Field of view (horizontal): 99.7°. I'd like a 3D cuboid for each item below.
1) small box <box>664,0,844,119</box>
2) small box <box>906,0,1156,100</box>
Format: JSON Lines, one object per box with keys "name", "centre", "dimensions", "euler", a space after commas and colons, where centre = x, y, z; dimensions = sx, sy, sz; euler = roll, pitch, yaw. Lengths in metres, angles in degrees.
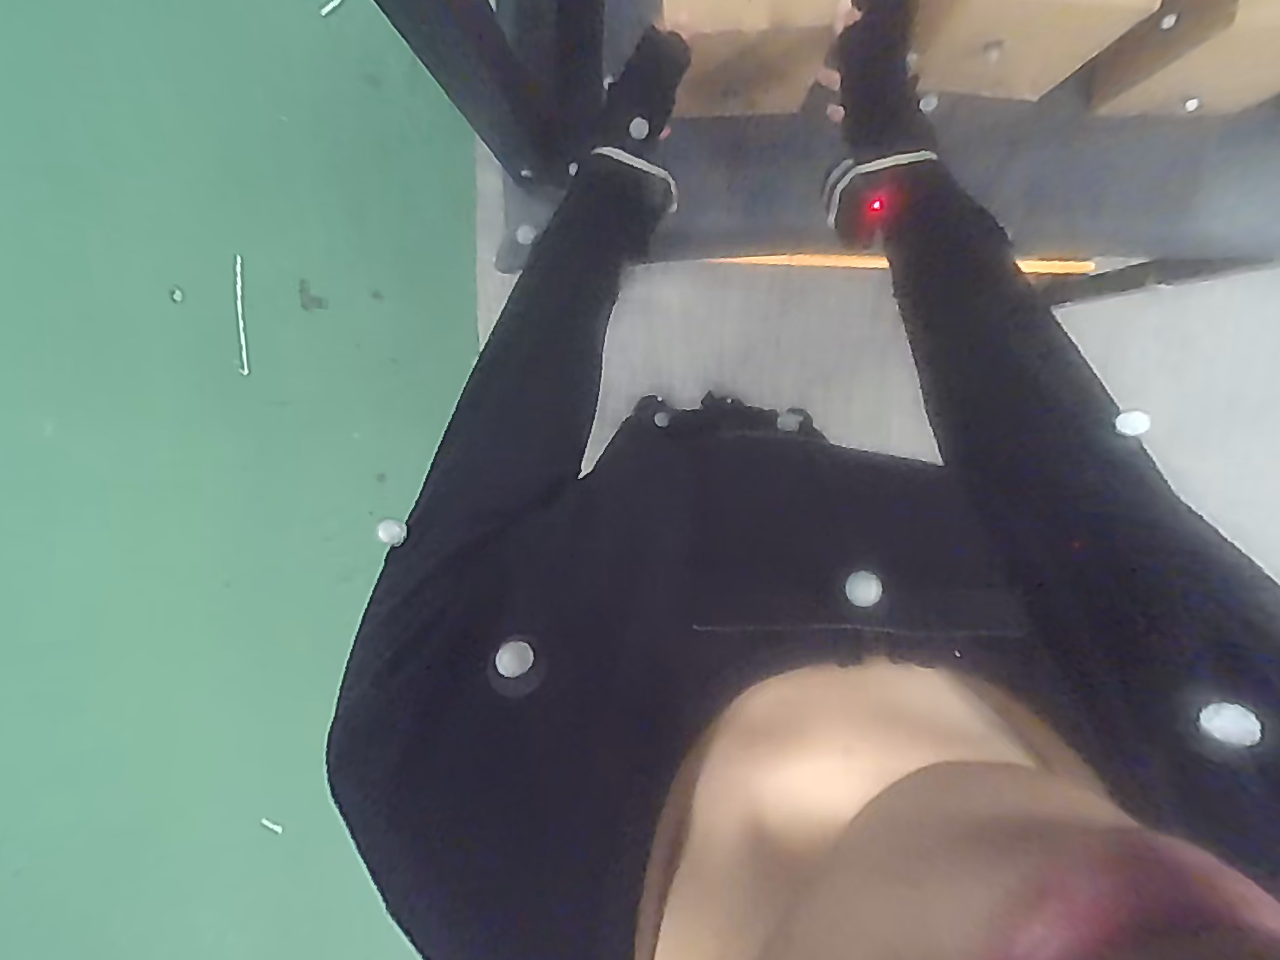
{"name": "small box", "centre": [0.109, -0.516, 0.569], "dimensions": [0.168, 0.176, 0.179], "euler": [-1, 101, 3]}
{"name": "small box", "centre": [0.398, -0.527, 0.554], "dimensions": [0.168, 0.176, 0.179], "euler": [7, 100, 2]}
